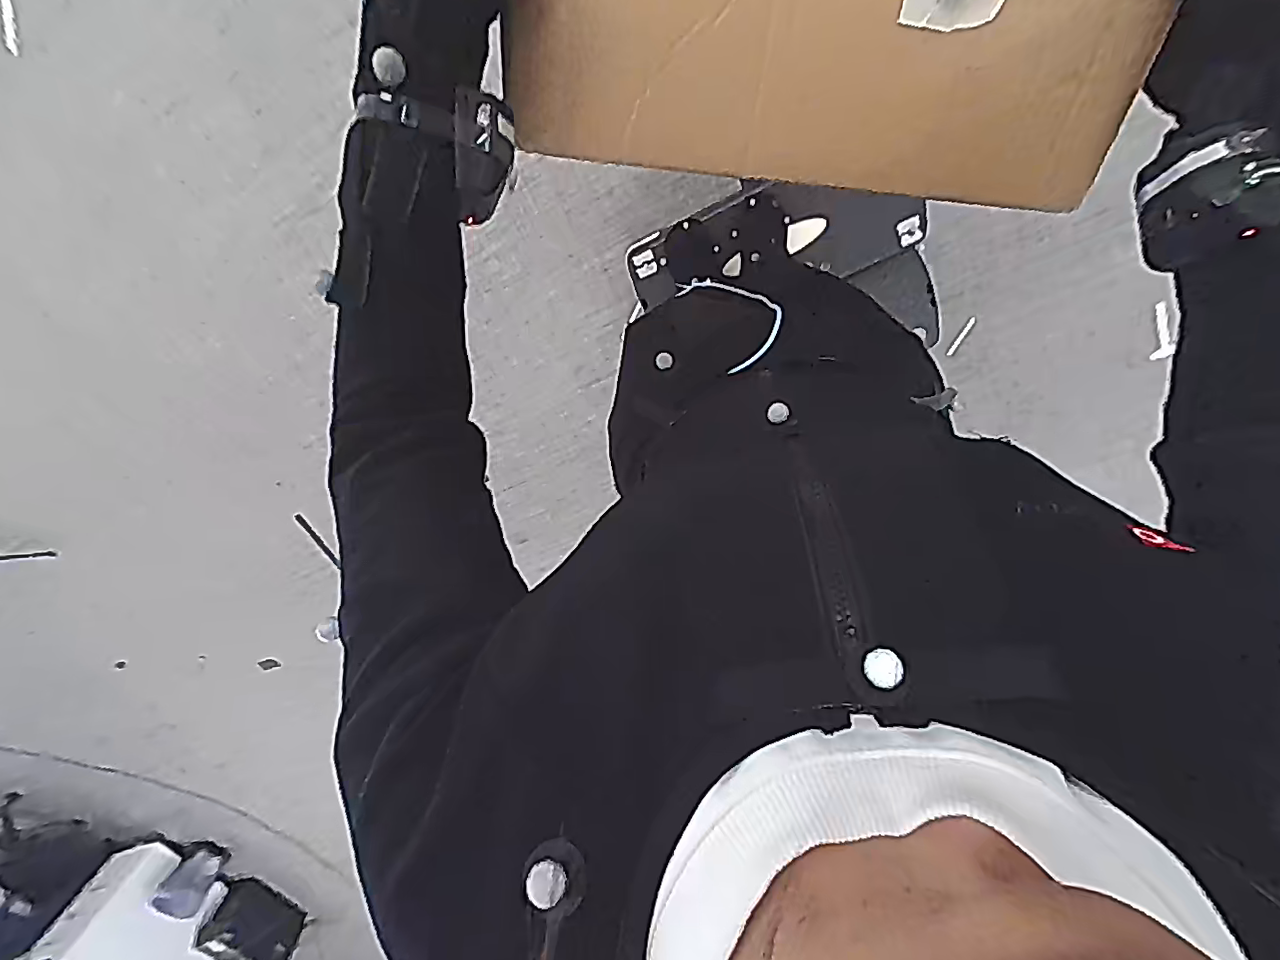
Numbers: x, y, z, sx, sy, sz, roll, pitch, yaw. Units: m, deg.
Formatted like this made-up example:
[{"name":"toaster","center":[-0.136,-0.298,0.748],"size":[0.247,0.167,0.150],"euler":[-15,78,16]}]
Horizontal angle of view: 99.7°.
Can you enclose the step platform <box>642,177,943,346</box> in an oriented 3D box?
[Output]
[{"name":"step platform","center":[0.350,-0.598,1.321],"size":[0.684,0.204,0.286],"euler":[-23,114,16]}]

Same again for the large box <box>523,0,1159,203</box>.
[{"name":"large box","center":[0.131,-0.430,0.433],"size":[0.408,0.320,0.320],"euler":[6,125,-2]}]
